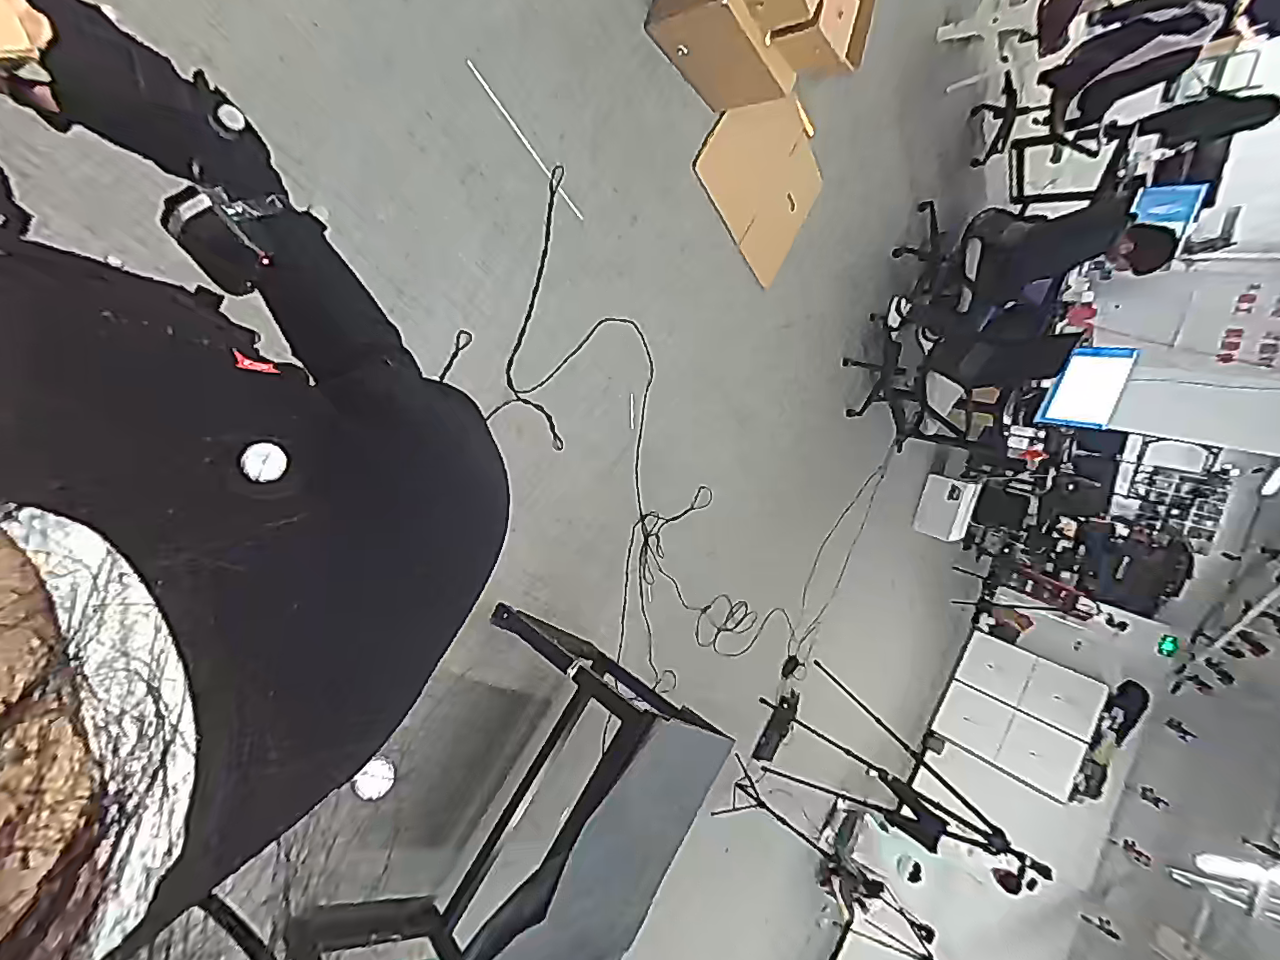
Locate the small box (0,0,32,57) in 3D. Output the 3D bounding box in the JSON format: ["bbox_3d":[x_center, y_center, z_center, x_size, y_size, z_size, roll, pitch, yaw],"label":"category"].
[{"bbox_3d":[-0.438,-0.291,0.232,0.168,0.176,0.179,-35,139,-33],"label":"small box"}]
